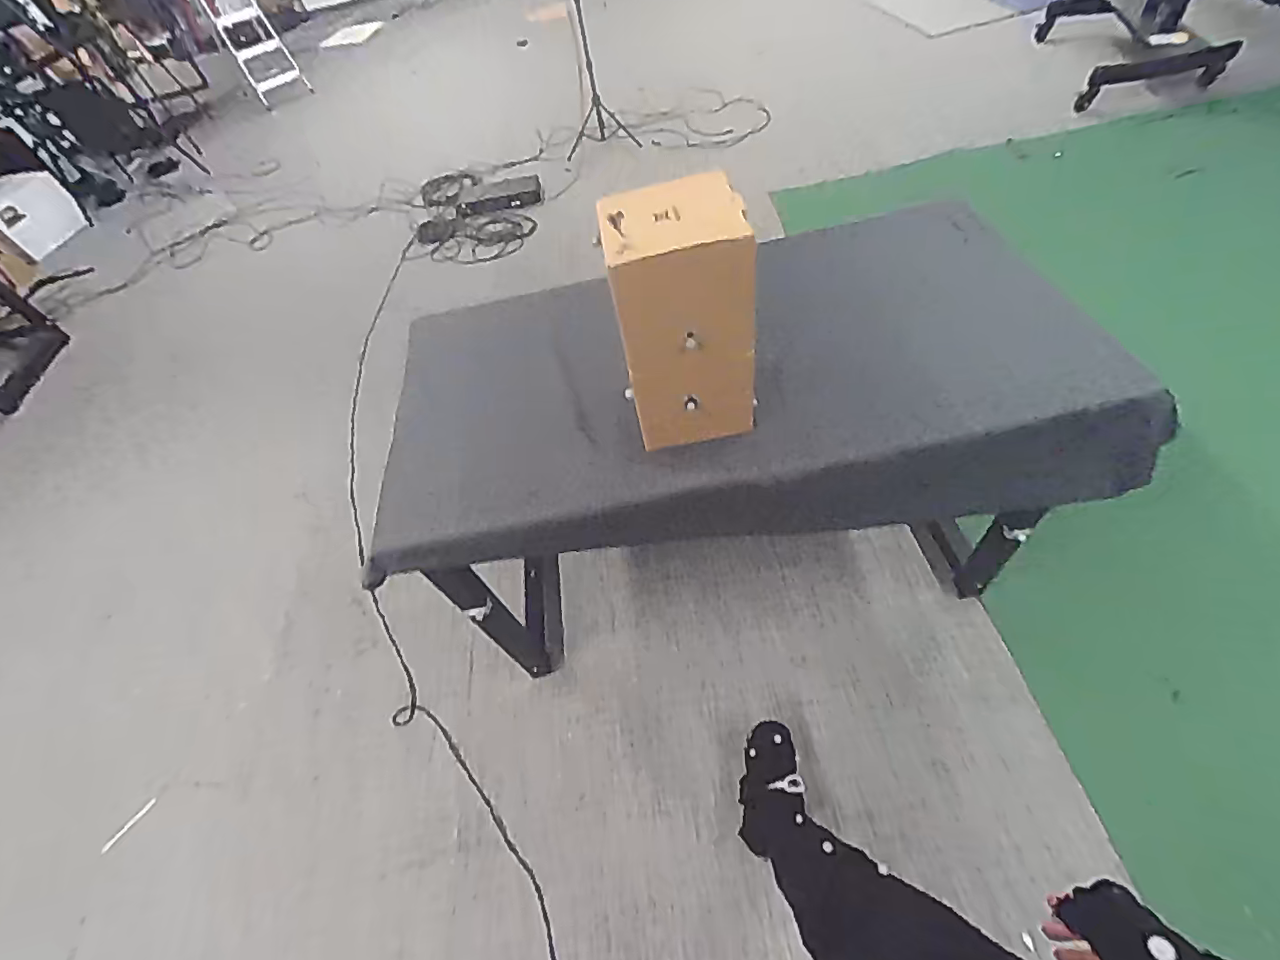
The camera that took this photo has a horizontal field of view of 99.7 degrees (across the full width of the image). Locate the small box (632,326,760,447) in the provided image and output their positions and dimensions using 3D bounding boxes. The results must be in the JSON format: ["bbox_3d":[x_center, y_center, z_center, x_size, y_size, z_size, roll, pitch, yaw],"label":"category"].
[{"bbox_3d":[0.077,-0.176,0.853,0.179,0.176,0.168,-13,53,0],"label":"small box"}]

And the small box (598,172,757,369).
[{"bbox_3d":[0.049,-0.274,0.725,0.179,0.176,0.168,-11,53,3],"label":"small box"}]
